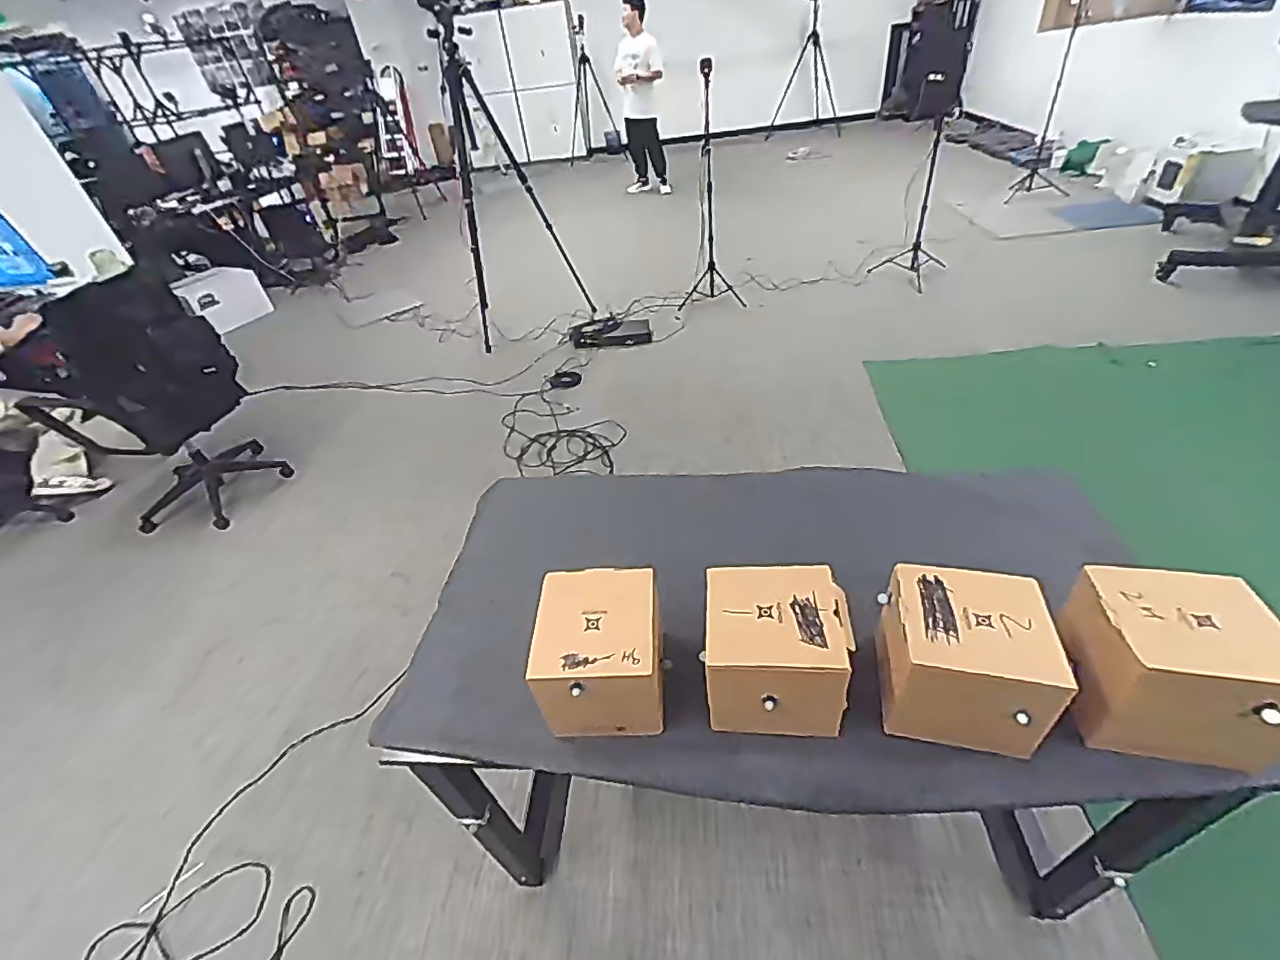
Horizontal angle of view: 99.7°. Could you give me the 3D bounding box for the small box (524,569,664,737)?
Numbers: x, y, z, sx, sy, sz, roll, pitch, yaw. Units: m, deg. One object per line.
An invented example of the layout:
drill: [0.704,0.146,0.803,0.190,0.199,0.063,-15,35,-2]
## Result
small box: [-0.055,0.253,0.796,0.168,0.176,0.179,-4,40,7]
